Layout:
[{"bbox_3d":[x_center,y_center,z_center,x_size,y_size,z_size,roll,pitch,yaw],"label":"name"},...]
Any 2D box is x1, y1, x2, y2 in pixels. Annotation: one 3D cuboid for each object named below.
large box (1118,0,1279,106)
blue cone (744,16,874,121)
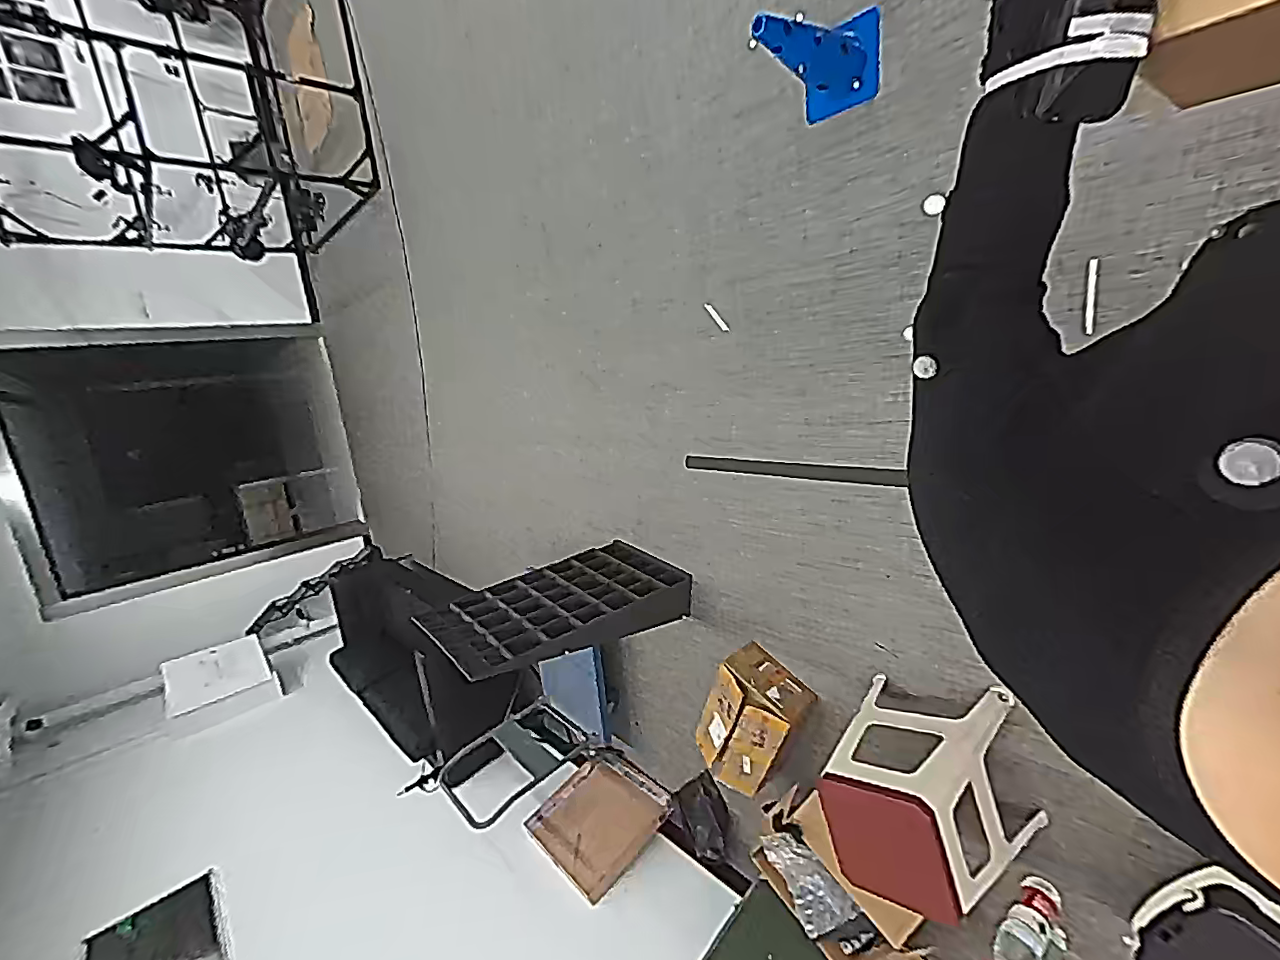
[{"bbox_3d":[0.524,-0.445,0.255,0.408,0.320,0.320,10,115,48],"label":"large box"},{"bbox_3d":[0.388,-1.026,1.295,0.192,0.380,0.193,12,112,48],"label":"blue cone"}]
